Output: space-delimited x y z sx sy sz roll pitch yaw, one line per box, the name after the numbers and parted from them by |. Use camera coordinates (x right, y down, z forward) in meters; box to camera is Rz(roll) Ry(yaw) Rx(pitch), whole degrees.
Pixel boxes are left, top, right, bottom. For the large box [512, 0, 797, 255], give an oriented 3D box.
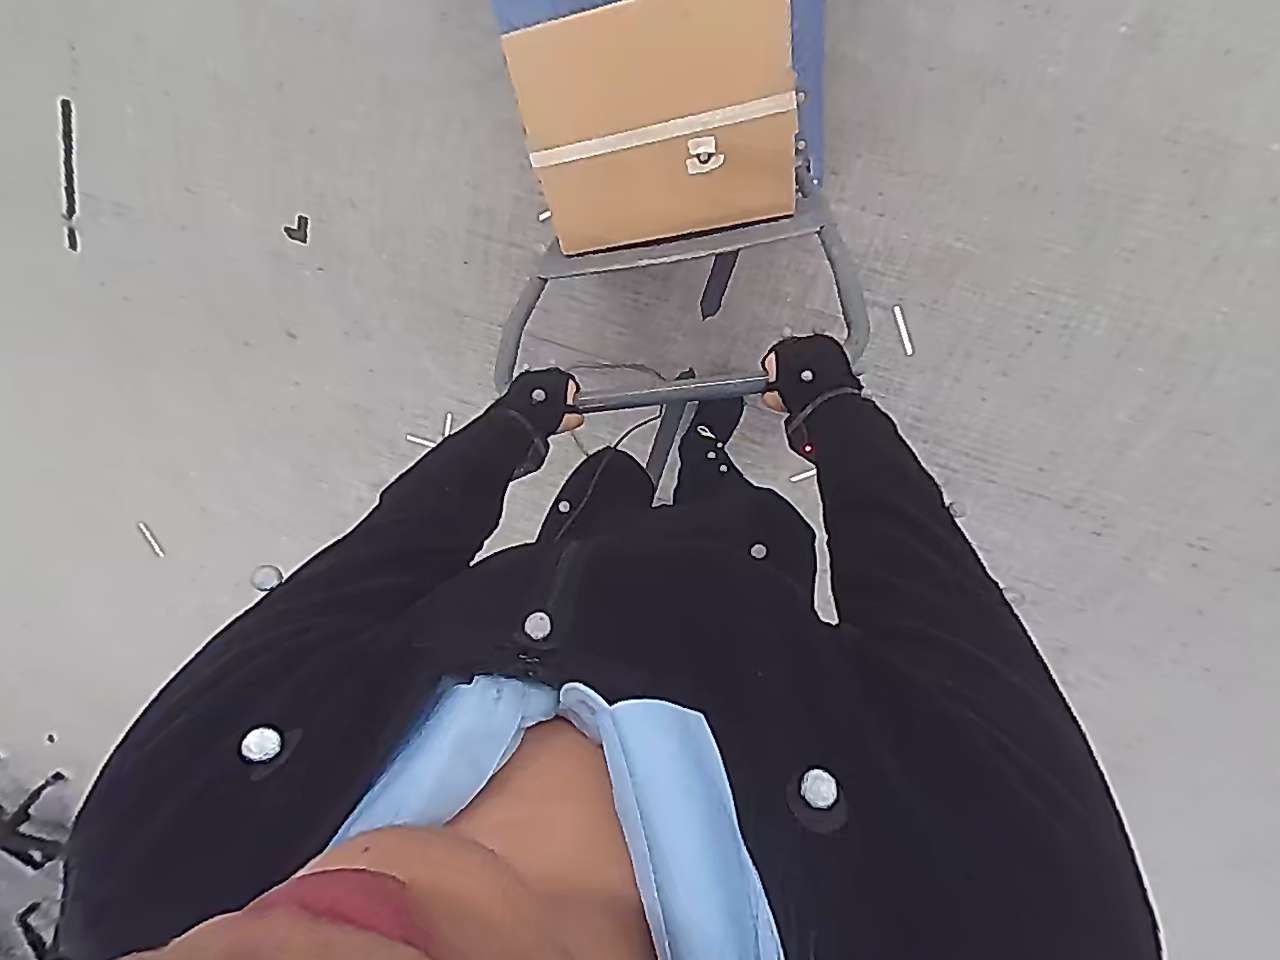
0.045 -0.639 0.958 0.408 0.320 0.320 -6 129 12 | large box
